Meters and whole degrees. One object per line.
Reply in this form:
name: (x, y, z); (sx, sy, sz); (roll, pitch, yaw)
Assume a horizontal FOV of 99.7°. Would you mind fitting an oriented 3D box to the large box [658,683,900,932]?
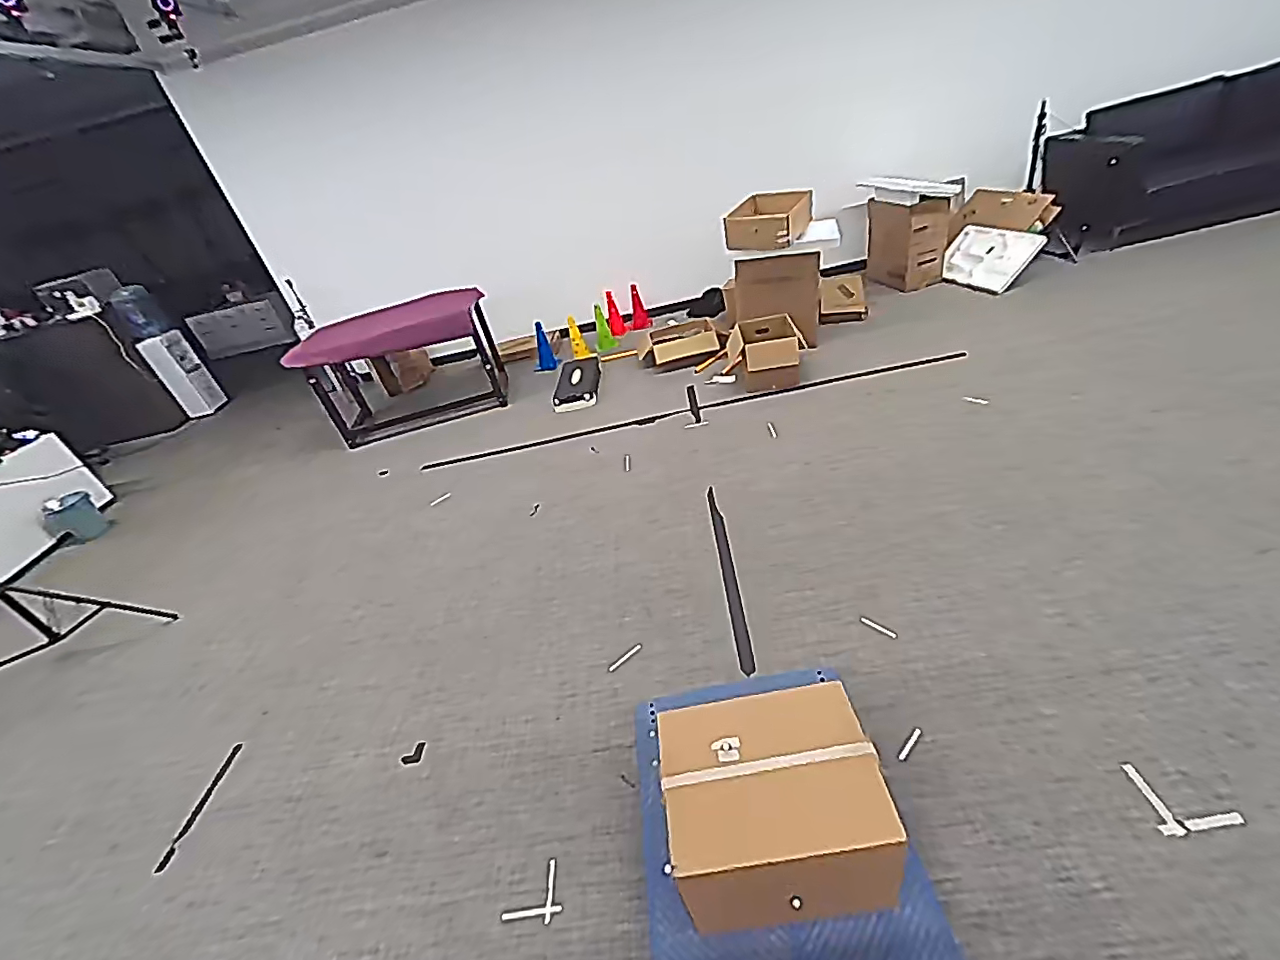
large box: (0.277, 0.687, 1.139); (0.408, 0.320, 0.320); (-13, 33, 4)
